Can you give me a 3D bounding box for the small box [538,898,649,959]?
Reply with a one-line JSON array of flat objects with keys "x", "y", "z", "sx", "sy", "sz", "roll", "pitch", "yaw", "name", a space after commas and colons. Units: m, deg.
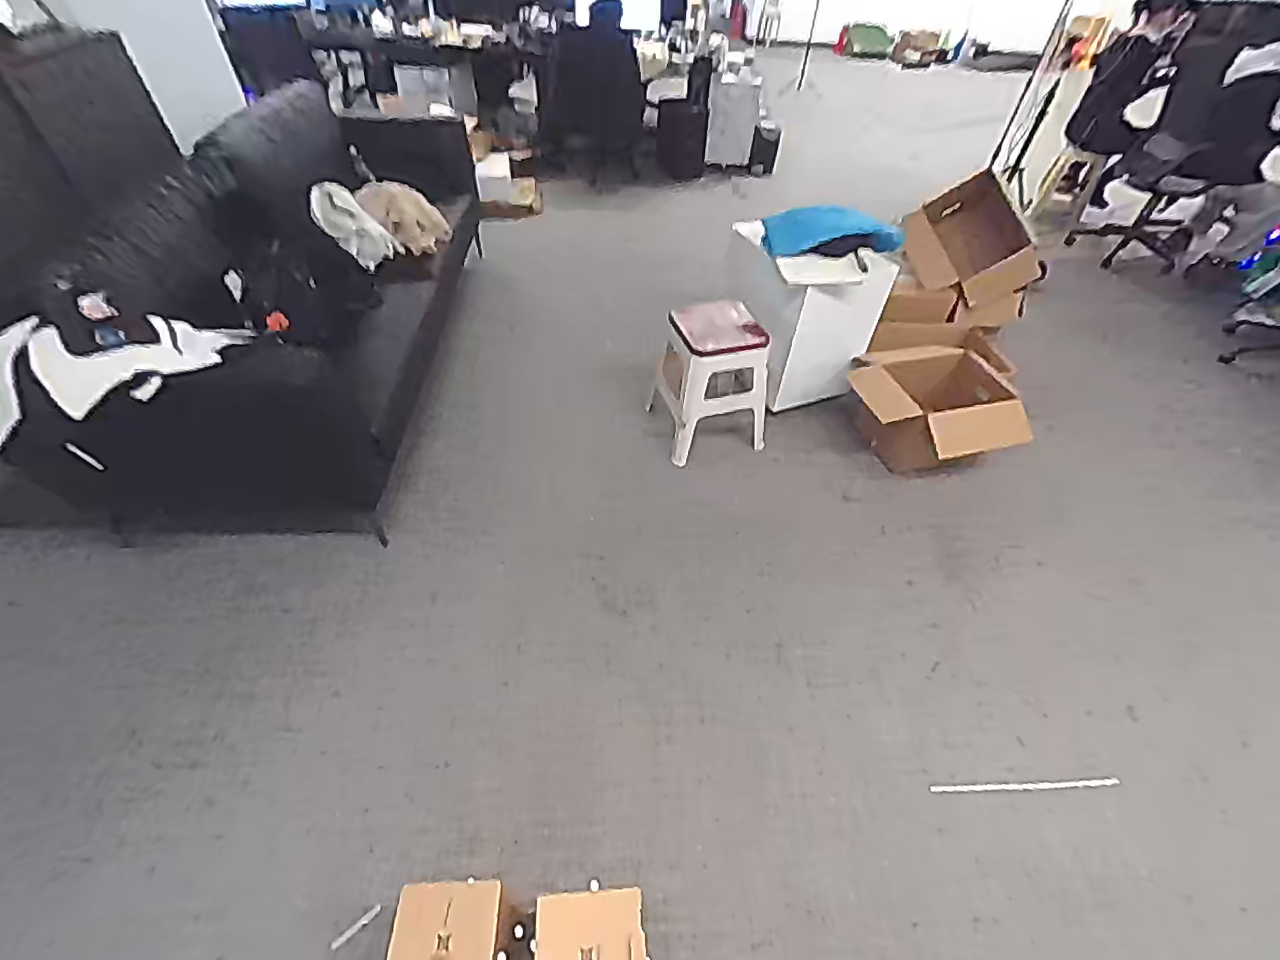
[{"x": -0.073, "y": 0.813, "z": 0.897, "sx": 0.179, "sy": 0.176, "sz": 0.168, "roll": -2, "pitch": 47, "yaw": -5, "name": "small box"}]
